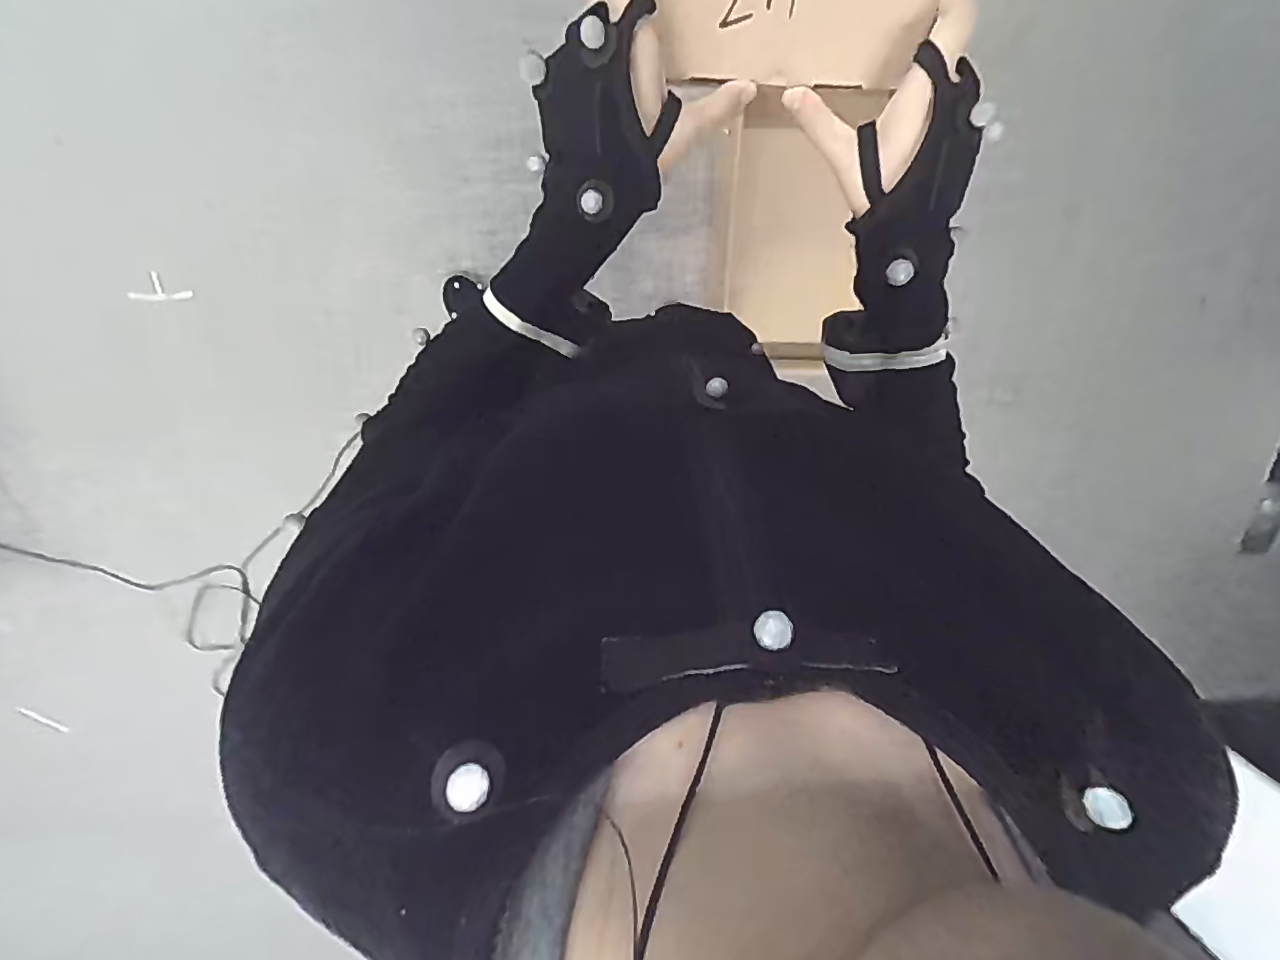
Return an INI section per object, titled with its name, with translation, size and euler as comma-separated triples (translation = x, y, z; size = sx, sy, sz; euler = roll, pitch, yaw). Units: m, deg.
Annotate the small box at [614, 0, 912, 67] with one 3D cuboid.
[small box]
translation = 0.068, -0.364, 0.324
size = 0.168, 0.176, 0.179
euler = 0, 126, -2
